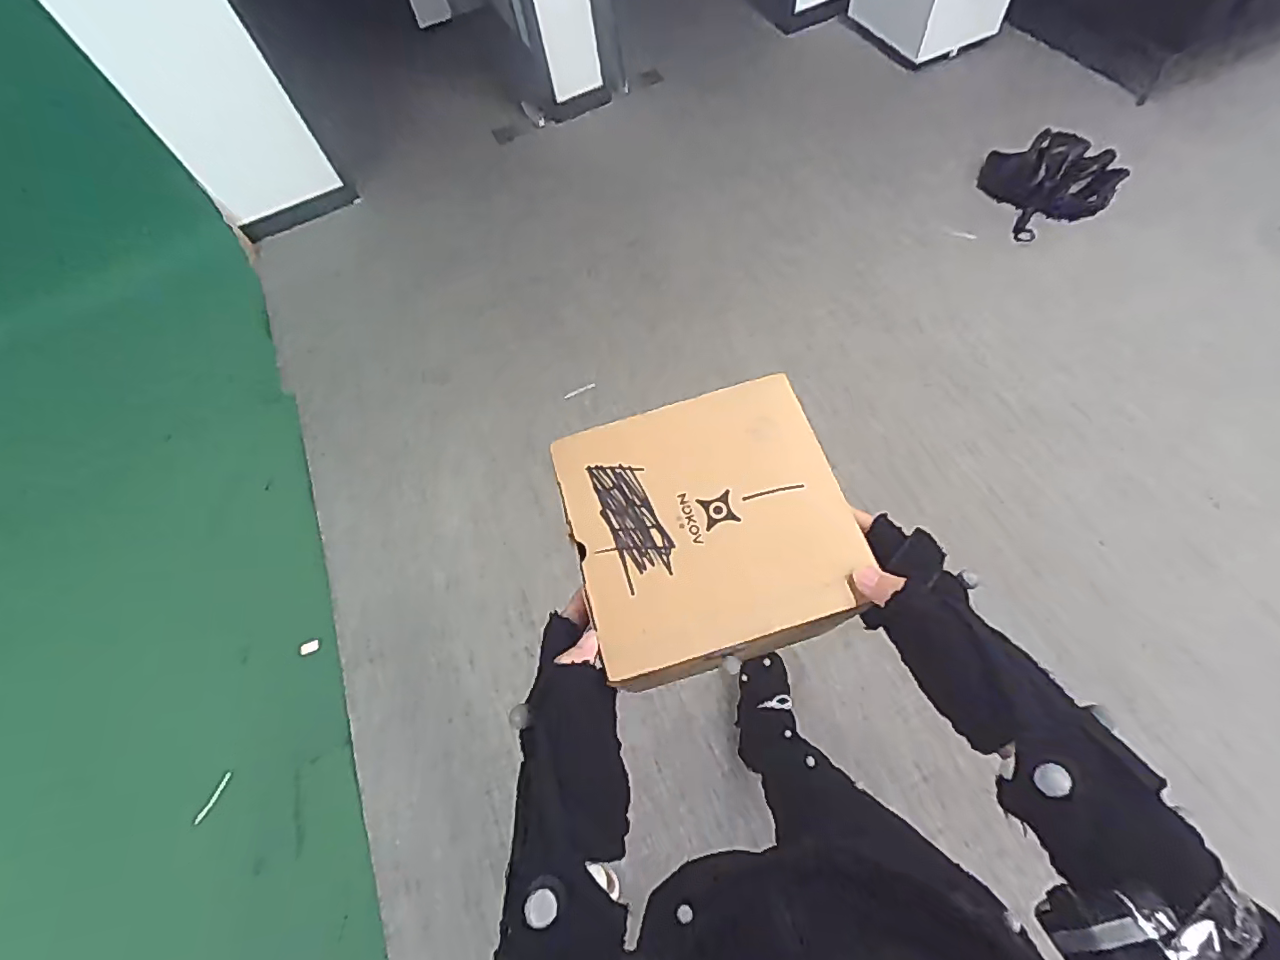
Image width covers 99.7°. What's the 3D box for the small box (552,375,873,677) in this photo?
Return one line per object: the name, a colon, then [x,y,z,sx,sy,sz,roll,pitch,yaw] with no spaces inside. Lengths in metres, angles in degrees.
small box: [0.047,0.049,0.430,0.179,0.176,0.168,-16,66,-2]
